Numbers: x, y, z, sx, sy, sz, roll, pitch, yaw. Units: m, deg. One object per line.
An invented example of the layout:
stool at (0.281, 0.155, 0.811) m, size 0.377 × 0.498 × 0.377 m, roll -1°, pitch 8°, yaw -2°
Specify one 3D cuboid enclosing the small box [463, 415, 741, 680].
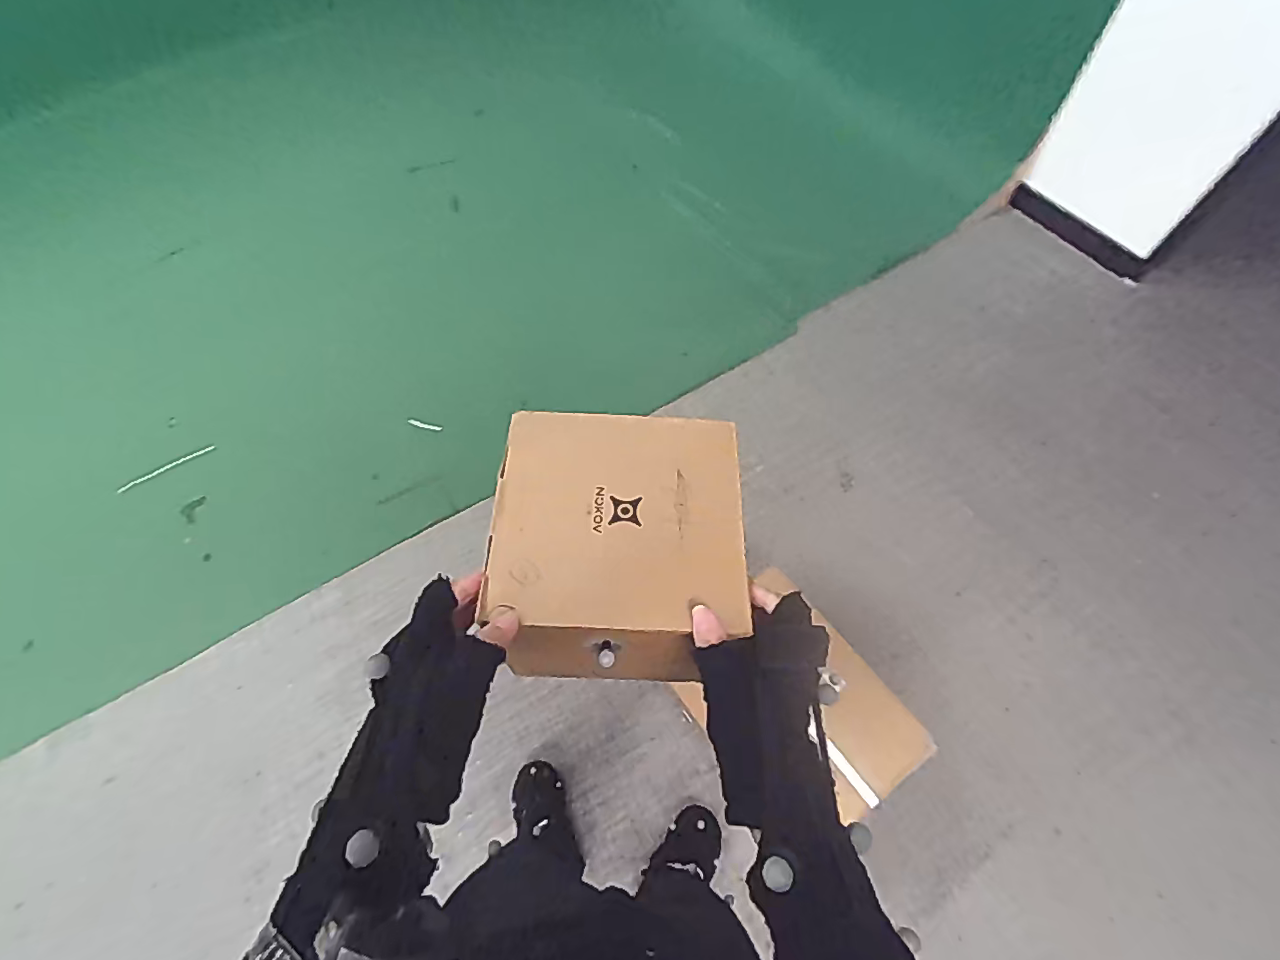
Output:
small box at (-0.026, 0.064, 0.442) m, size 0.179 × 0.176 × 0.168 m, roll 2°, pitch 61°, yaw -3°
